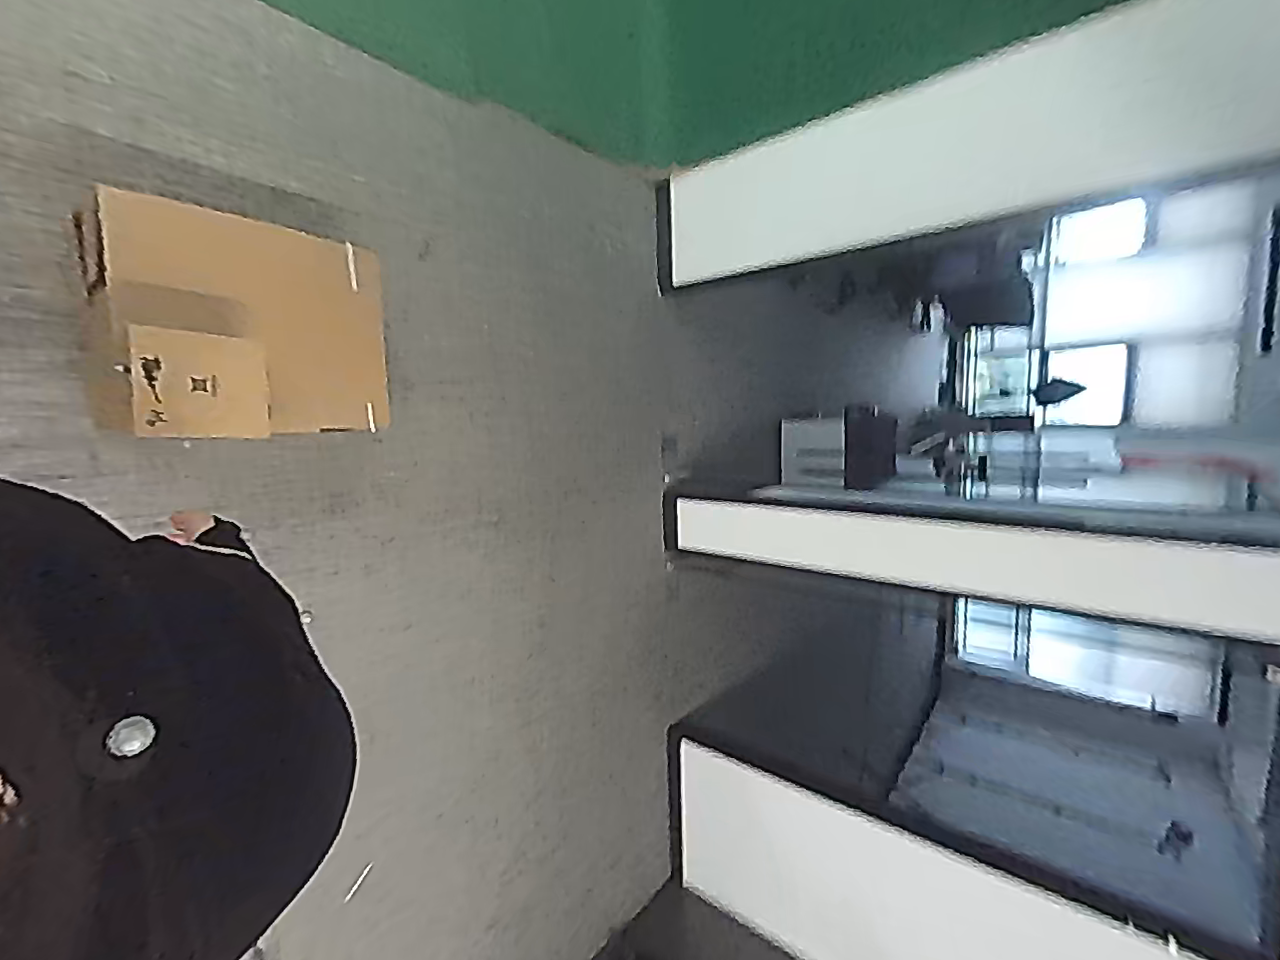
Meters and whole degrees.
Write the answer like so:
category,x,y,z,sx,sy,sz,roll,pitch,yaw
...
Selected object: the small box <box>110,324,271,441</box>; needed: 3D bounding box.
category,x,y,z,sx,sy,sz,roll,pitch,yaw
small box,-0.745,-0.154,0.900,0.179,0.176,0.168,-3,97,-52
